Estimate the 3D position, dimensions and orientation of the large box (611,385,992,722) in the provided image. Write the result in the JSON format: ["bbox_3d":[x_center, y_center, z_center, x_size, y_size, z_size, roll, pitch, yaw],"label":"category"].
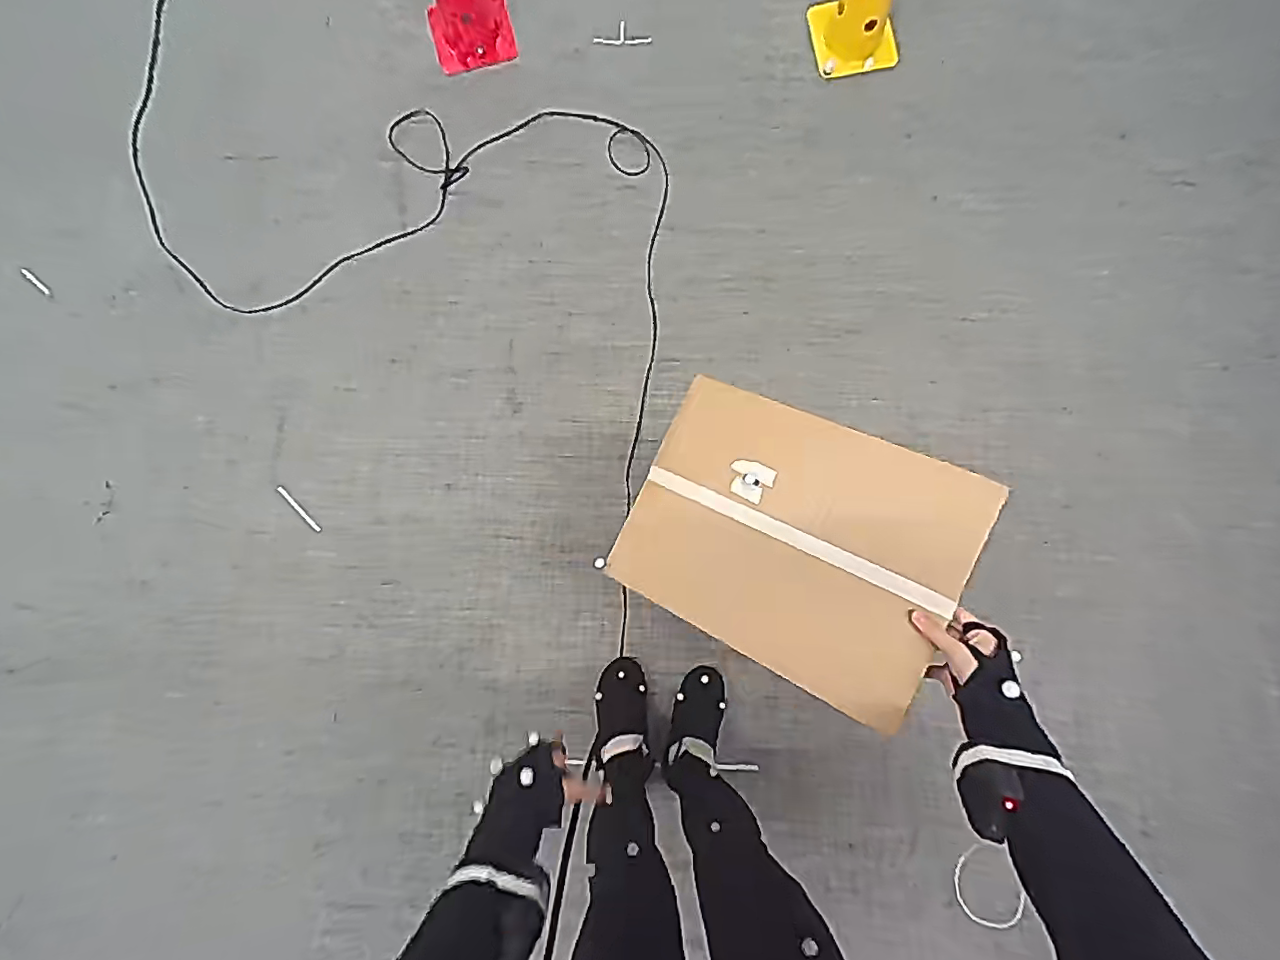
[{"bbox_3d":[0.241,0.101,0.837,0.408,0.320,0.320,26,88,26],"label":"large box"}]
